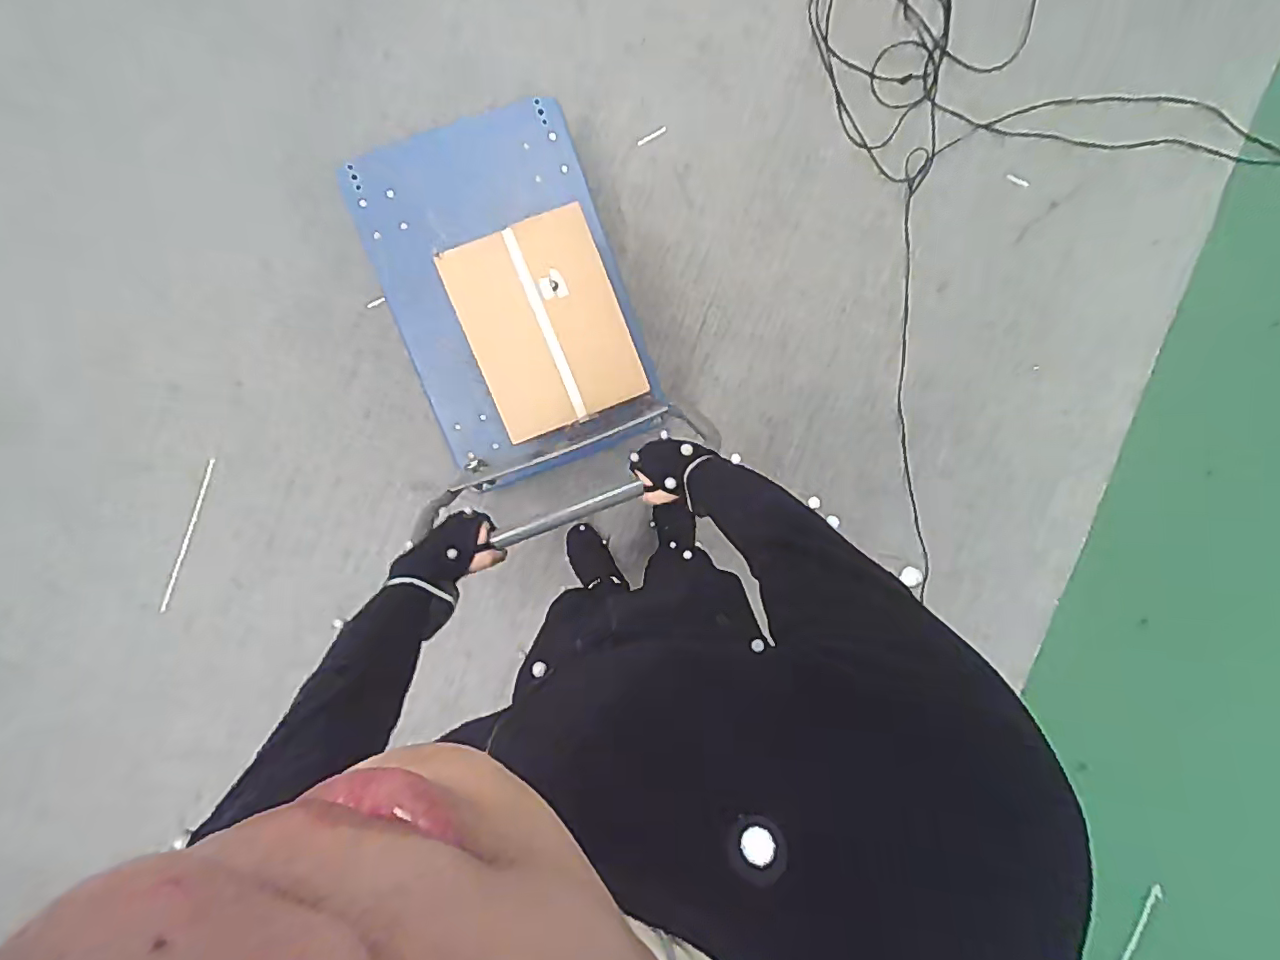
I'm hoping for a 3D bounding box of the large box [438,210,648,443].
[{"bbox_3d":[-0.207,-0.332,1.270,0.320,0.320,0.408,-22,98,-3],"label":"large box"}]
